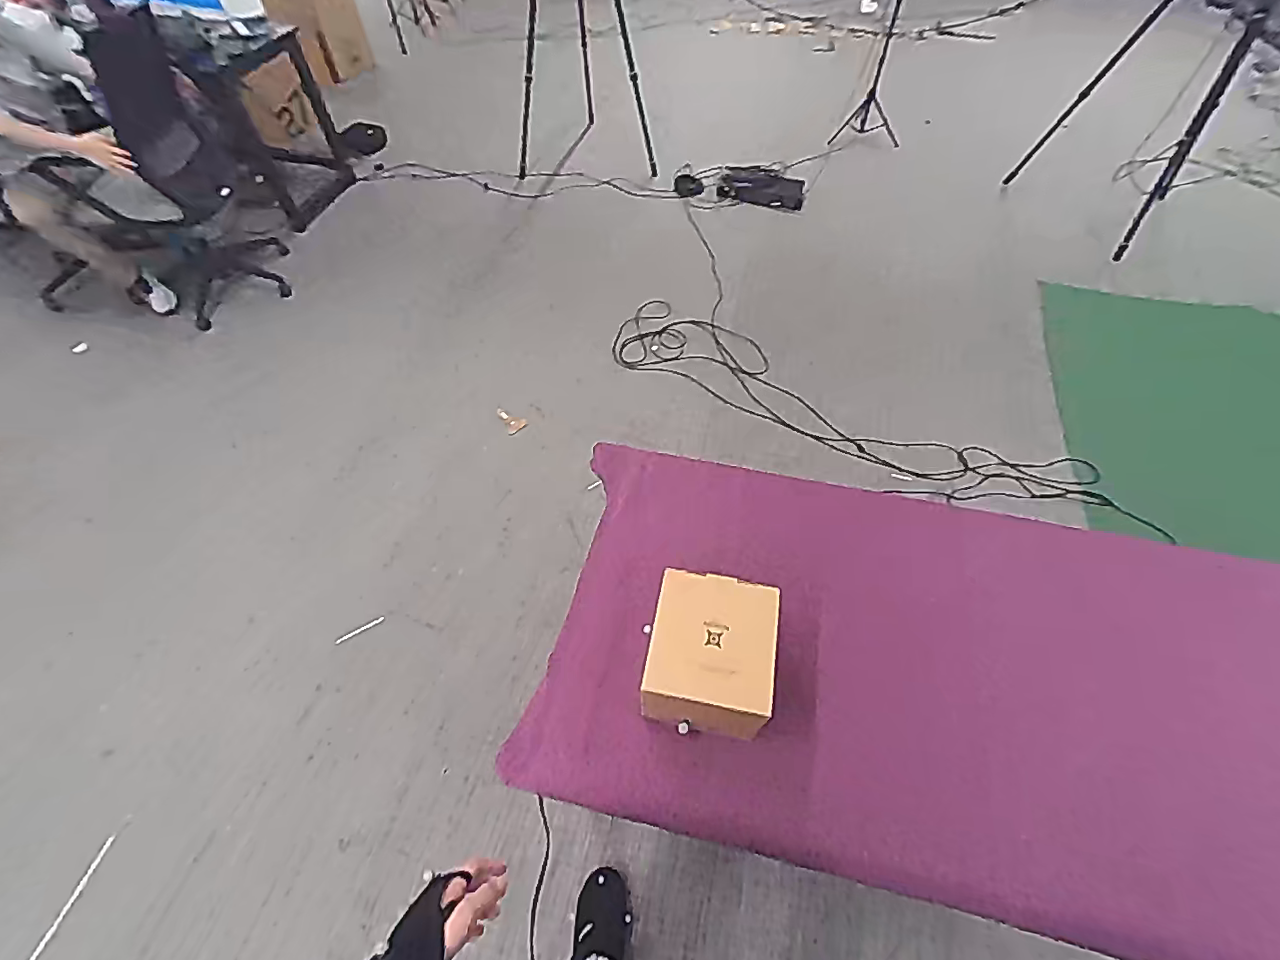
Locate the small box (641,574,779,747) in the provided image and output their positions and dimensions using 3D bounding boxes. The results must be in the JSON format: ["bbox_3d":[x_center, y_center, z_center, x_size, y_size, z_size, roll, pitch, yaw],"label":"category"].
[{"bbox_3d":[0.097,0.262,0.779,0.168,0.176,0.179,9,55,8],"label":"small box"}]
